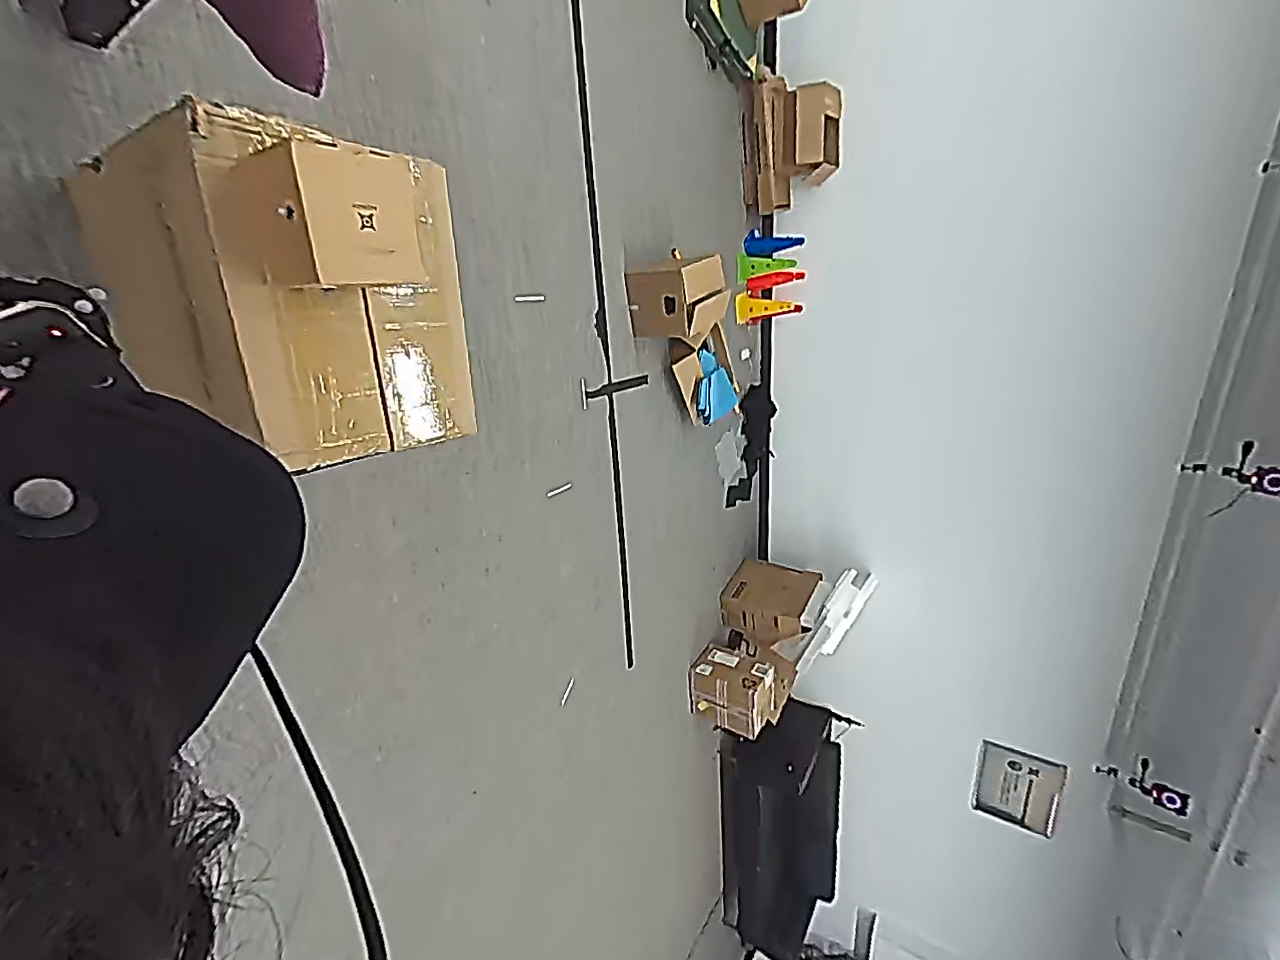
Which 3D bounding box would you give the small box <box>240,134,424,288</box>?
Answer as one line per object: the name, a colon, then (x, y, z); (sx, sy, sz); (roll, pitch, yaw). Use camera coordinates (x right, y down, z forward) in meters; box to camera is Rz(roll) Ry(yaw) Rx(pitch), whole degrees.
small box: (-0.453, -0.381, 0.799); (0.168, 0.176, 0.179); (-26, 120, -50)
